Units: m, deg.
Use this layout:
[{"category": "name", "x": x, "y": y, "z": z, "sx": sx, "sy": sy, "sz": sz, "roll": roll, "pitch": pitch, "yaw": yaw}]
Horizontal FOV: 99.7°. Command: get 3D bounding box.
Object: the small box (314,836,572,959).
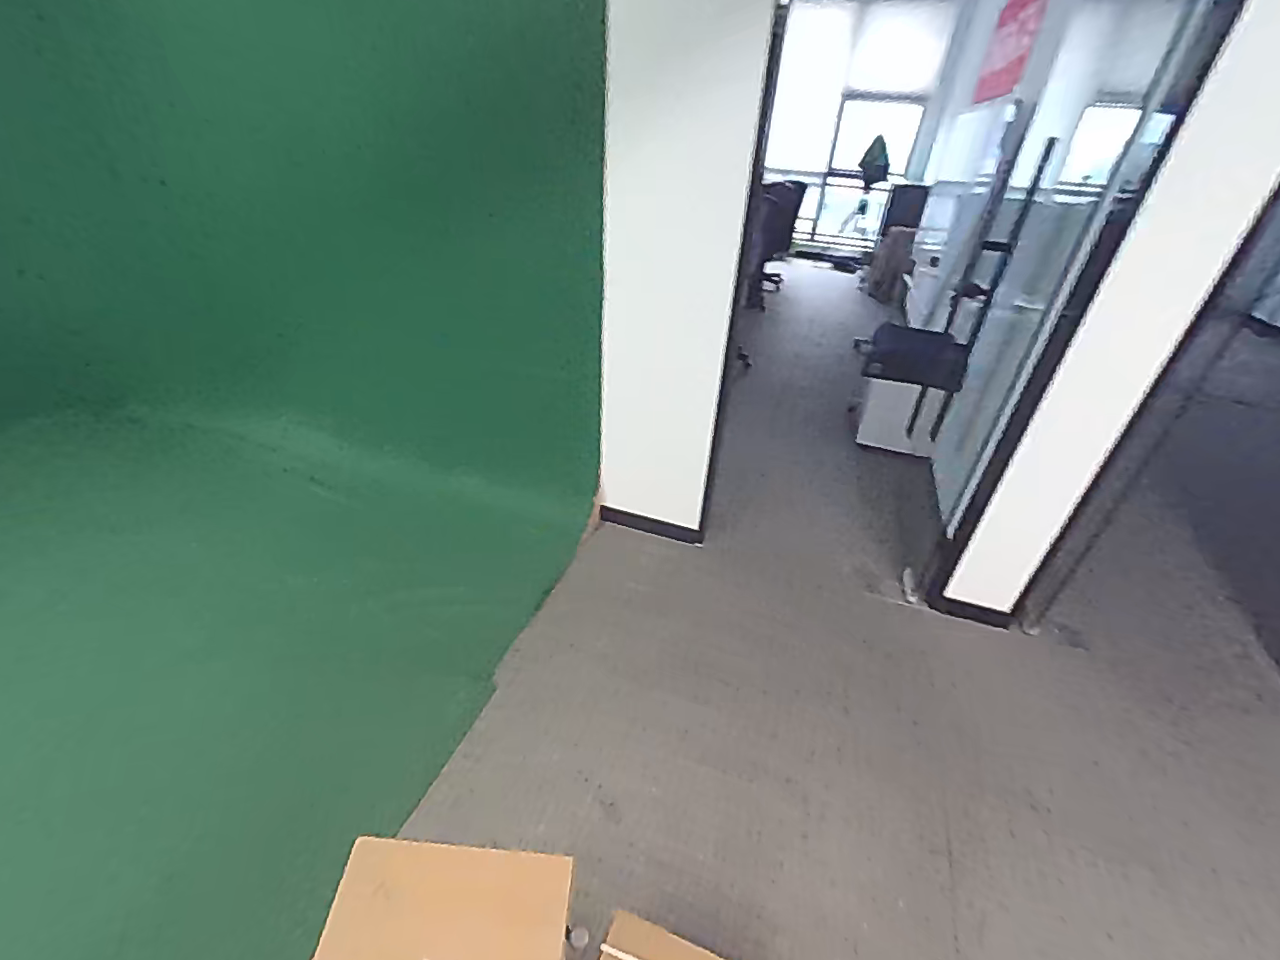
[{"category": "small box", "x": -0.147, "y": 0.395, "z": 0.413, "sx": 0.168, "sy": 0.176, "sz": 0.179, "roll": 6, "pitch": 49, "yaw": -2}]
